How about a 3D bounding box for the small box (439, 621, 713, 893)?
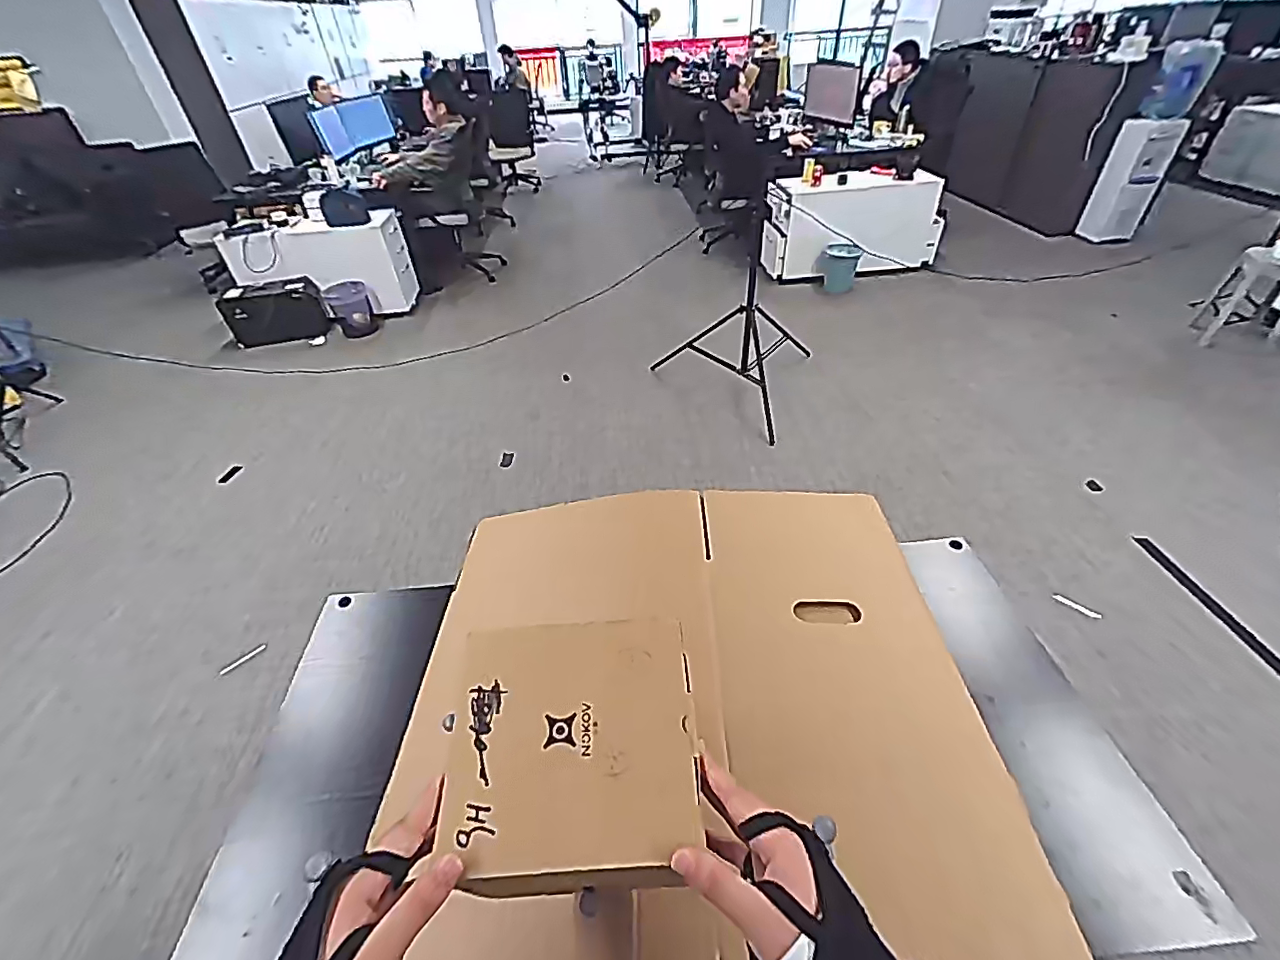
[{"bbox_3d":[-0.044,0.233,0.453,0.179,0.176,0.168,-3,48,-2],"label":"small box"}]
